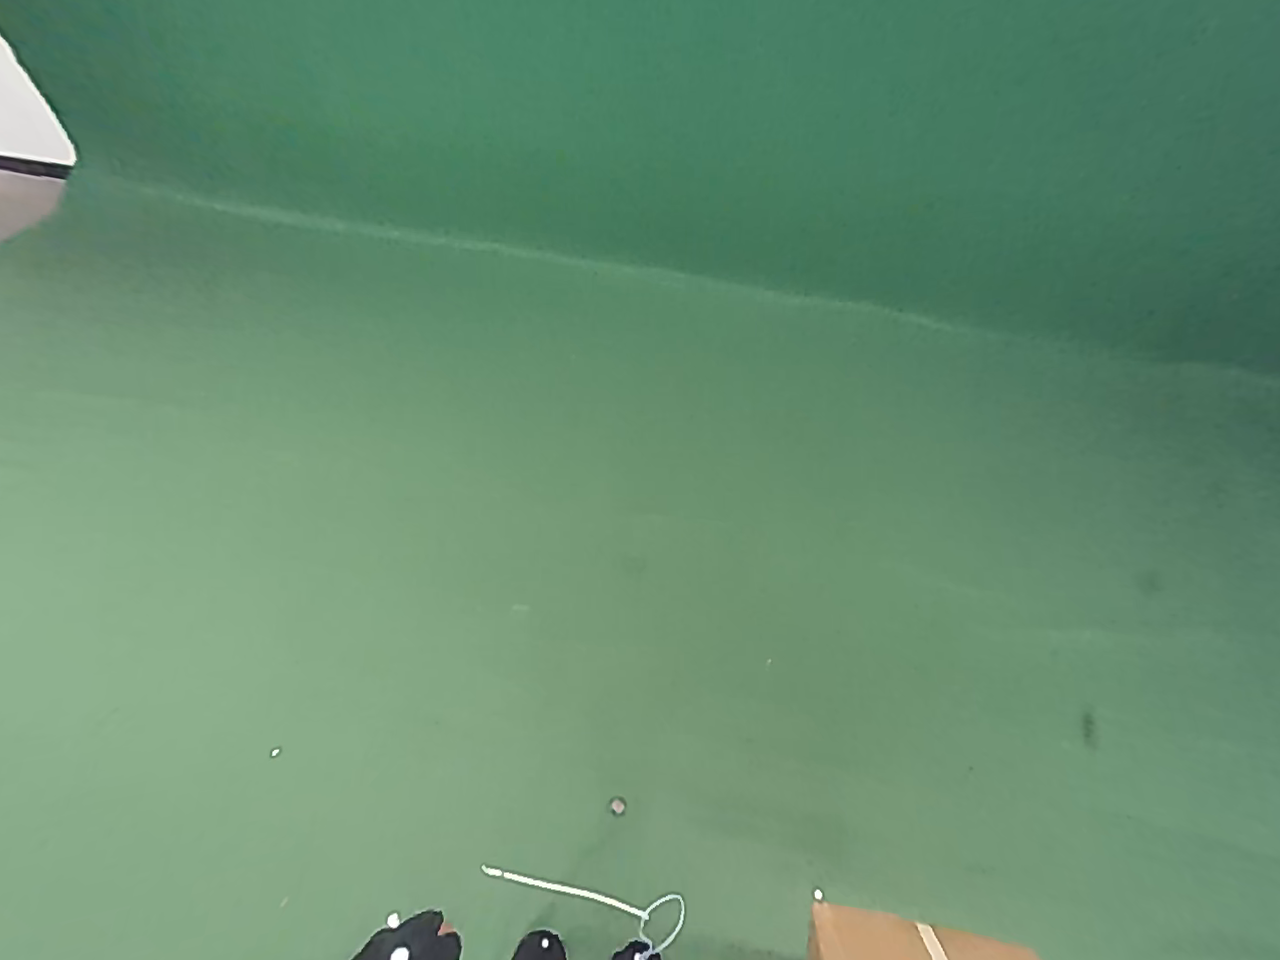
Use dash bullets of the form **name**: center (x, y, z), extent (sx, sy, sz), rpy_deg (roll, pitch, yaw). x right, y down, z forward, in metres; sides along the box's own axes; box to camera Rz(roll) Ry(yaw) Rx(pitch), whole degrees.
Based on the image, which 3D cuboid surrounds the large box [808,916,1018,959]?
- **large box**: center (0.363, 0.808, 0.590), extent (0.320, 0.408, 0.320), rpy_deg (7, 87, 9)
